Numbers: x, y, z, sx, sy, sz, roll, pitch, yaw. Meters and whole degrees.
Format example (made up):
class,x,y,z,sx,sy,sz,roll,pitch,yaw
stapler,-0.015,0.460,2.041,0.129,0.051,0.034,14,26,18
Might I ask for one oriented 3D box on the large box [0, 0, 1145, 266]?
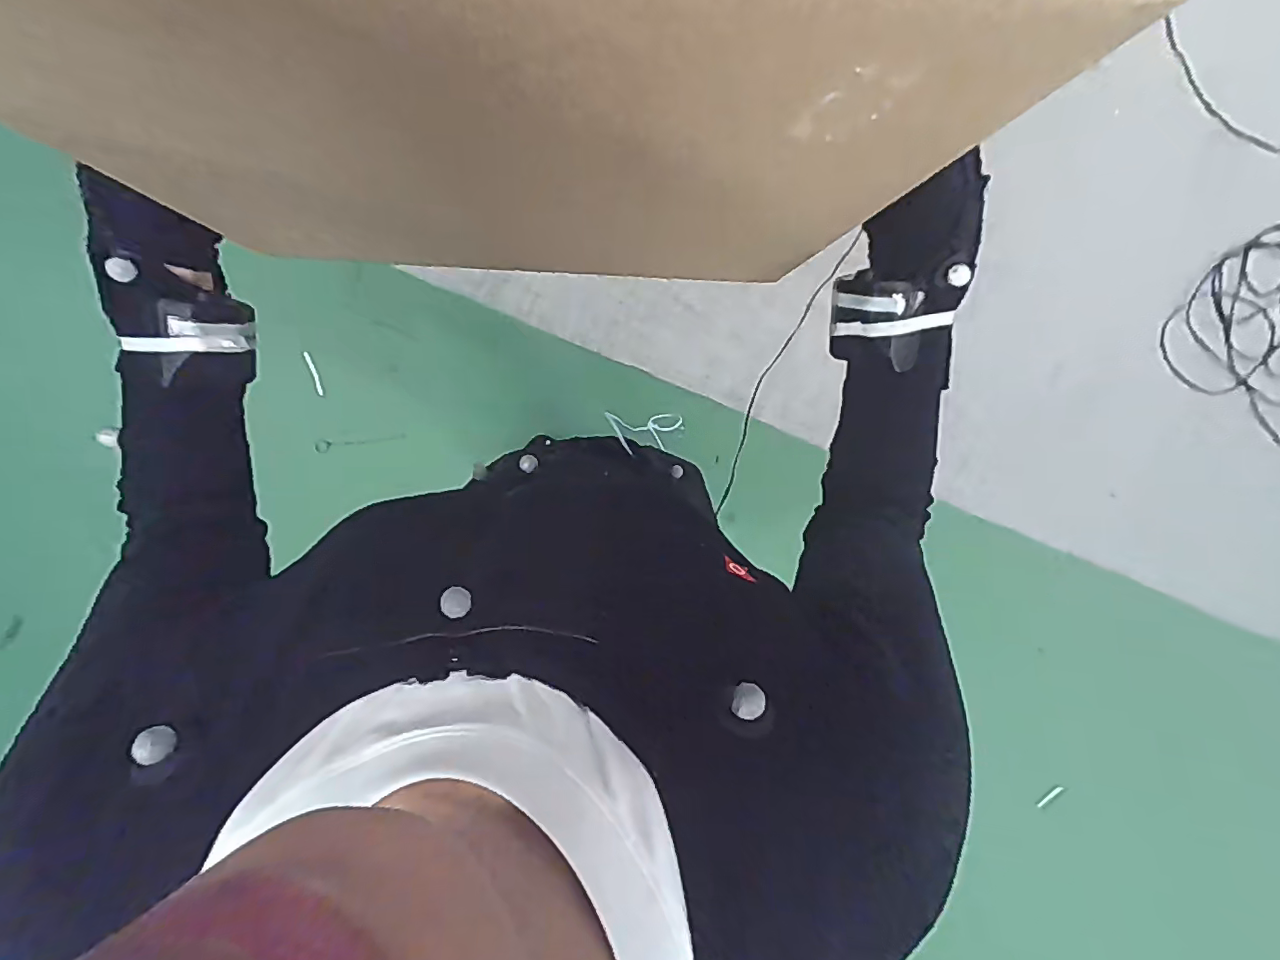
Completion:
class,x,y,z,sx,sy,sz,roll,pitch,yaw
large box,-0.055,-0.312,0.265,0.408,0.320,0.320,1,97,-8
